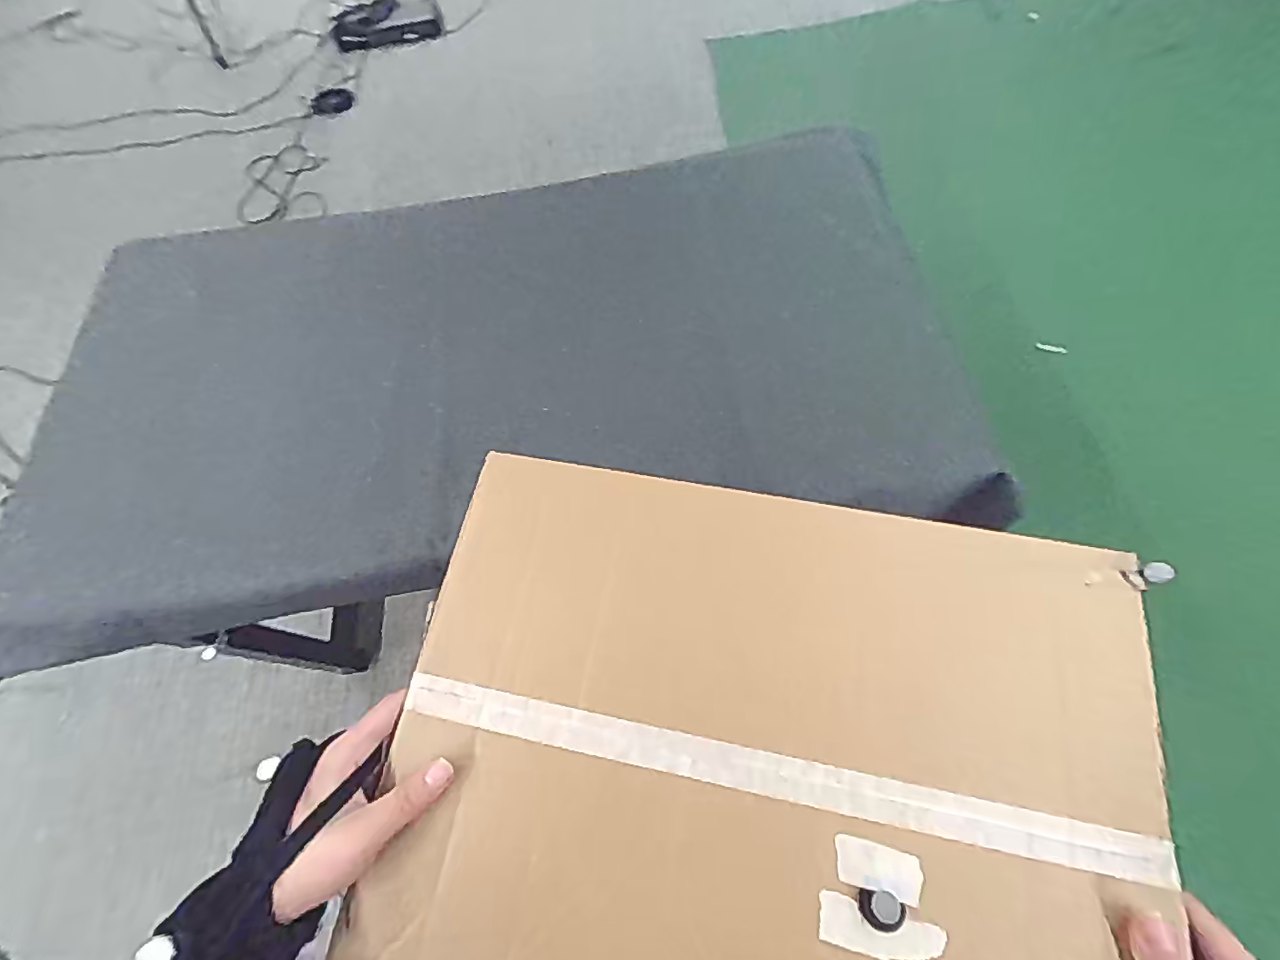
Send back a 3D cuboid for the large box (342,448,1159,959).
[{"bbox_3d":[0.072,0.195,0.444,0.408,0.320,0.320,8,70,8],"label":"large box"}]
